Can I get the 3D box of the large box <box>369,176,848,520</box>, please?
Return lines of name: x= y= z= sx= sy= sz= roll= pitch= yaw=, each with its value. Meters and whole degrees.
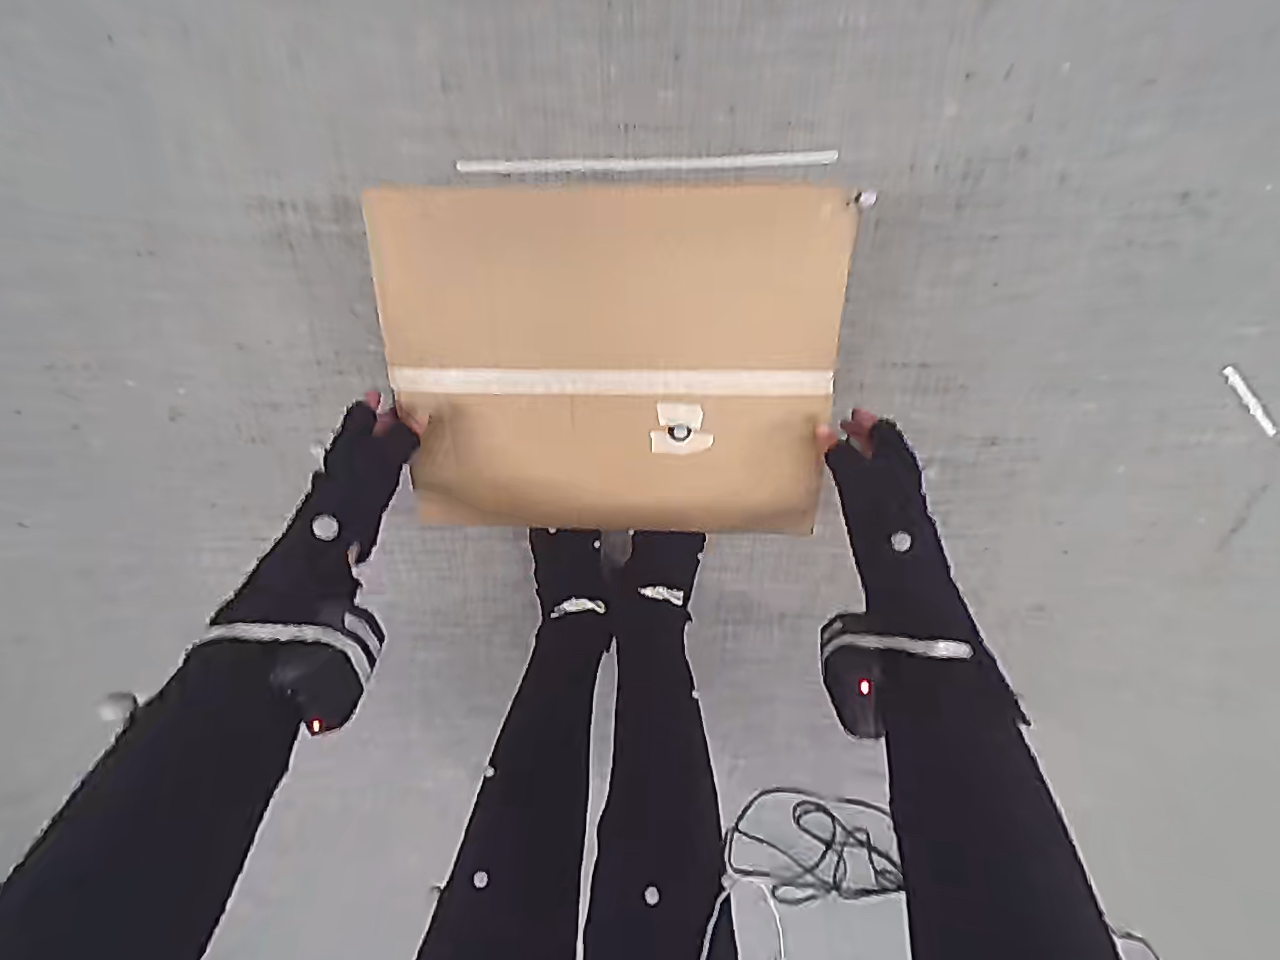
large box: x=-0.023 y=-0.158 z=0.636 sx=0.408 sy=0.320 sz=0.320 roll=1 pitch=114 yaw=2
